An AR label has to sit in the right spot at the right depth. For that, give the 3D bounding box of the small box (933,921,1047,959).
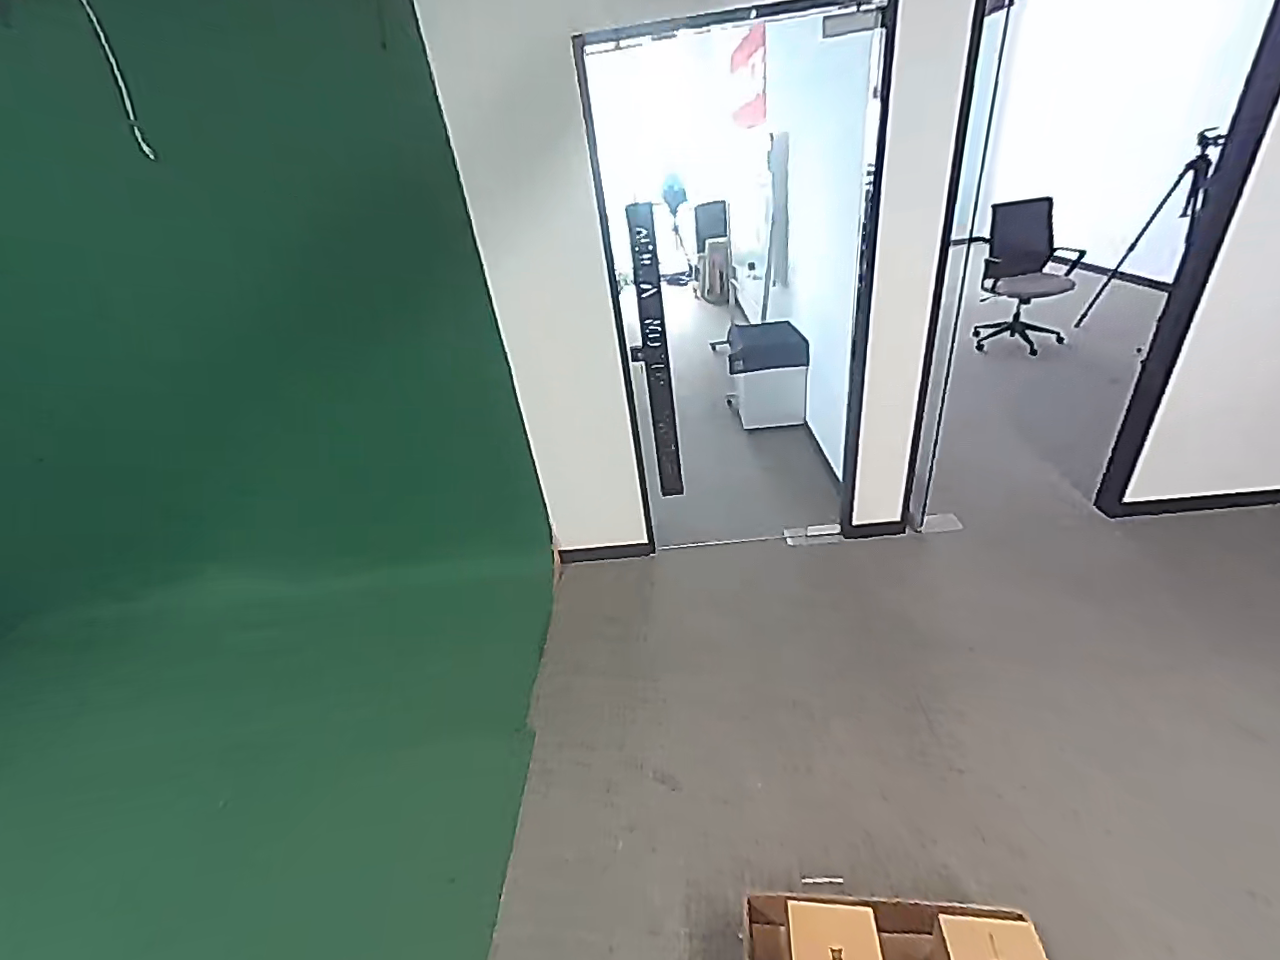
[{"bbox_3d":[0.653,0.952,0.983,0.168,0.176,0.179,-3,29,11],"label":"small box"}]

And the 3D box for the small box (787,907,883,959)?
[{"bbox_3d":[0.374,0.965,1.032,0.168,0.176,0.179,-2,30,9],"label":"small box"}]
